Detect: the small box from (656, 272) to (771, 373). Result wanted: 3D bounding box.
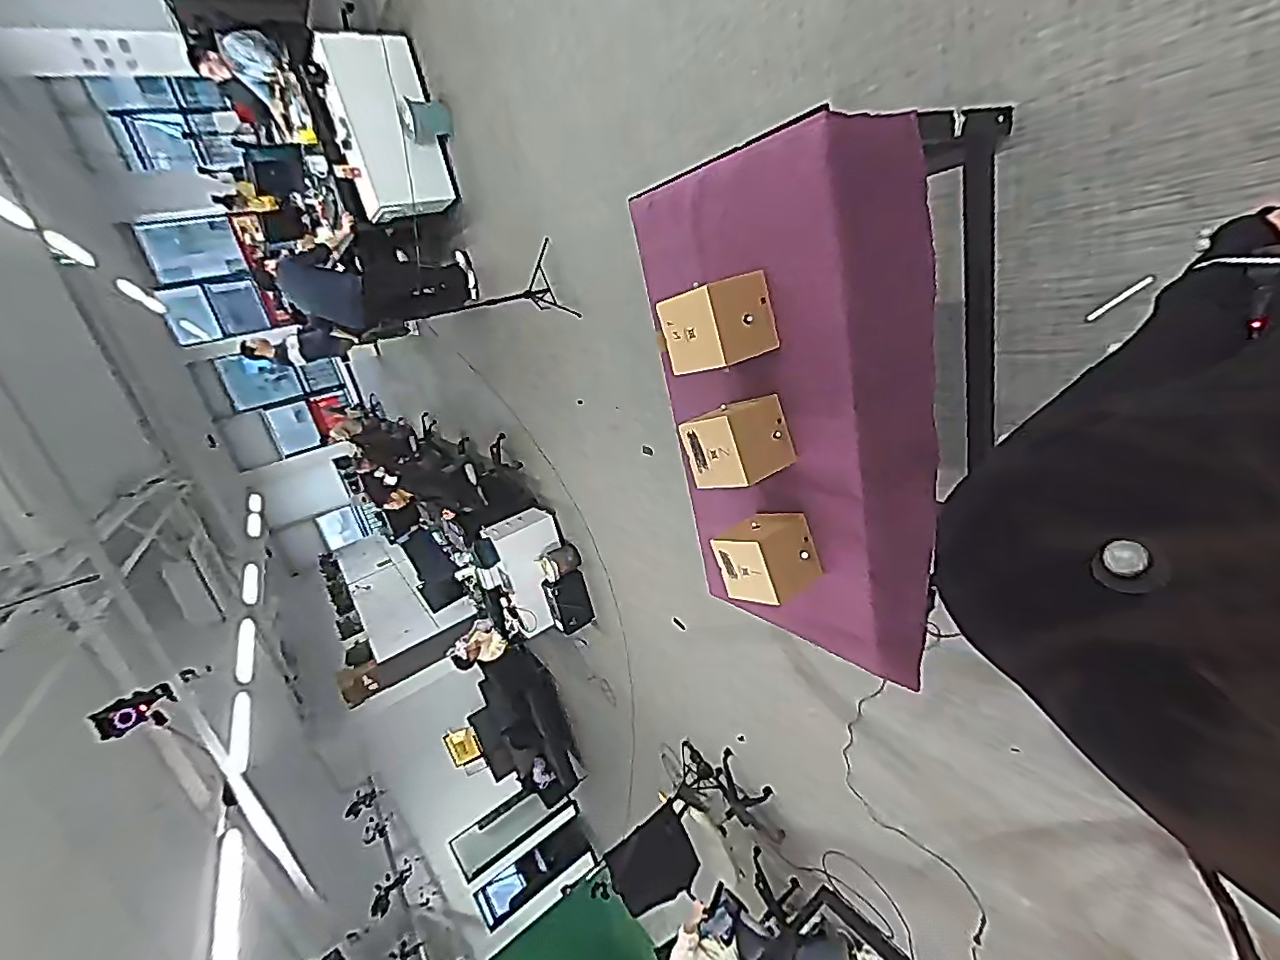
[{"bbox_3d":[0.168,-0.343,1.184,0.179,0.176,0.168,7,118,57],"label":"small box"}]

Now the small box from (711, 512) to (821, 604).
[{"bbox_3d":[0.315,0.186,1.350,0.179,0.176,0.168,-7,106,59],"label":"small box"}]
